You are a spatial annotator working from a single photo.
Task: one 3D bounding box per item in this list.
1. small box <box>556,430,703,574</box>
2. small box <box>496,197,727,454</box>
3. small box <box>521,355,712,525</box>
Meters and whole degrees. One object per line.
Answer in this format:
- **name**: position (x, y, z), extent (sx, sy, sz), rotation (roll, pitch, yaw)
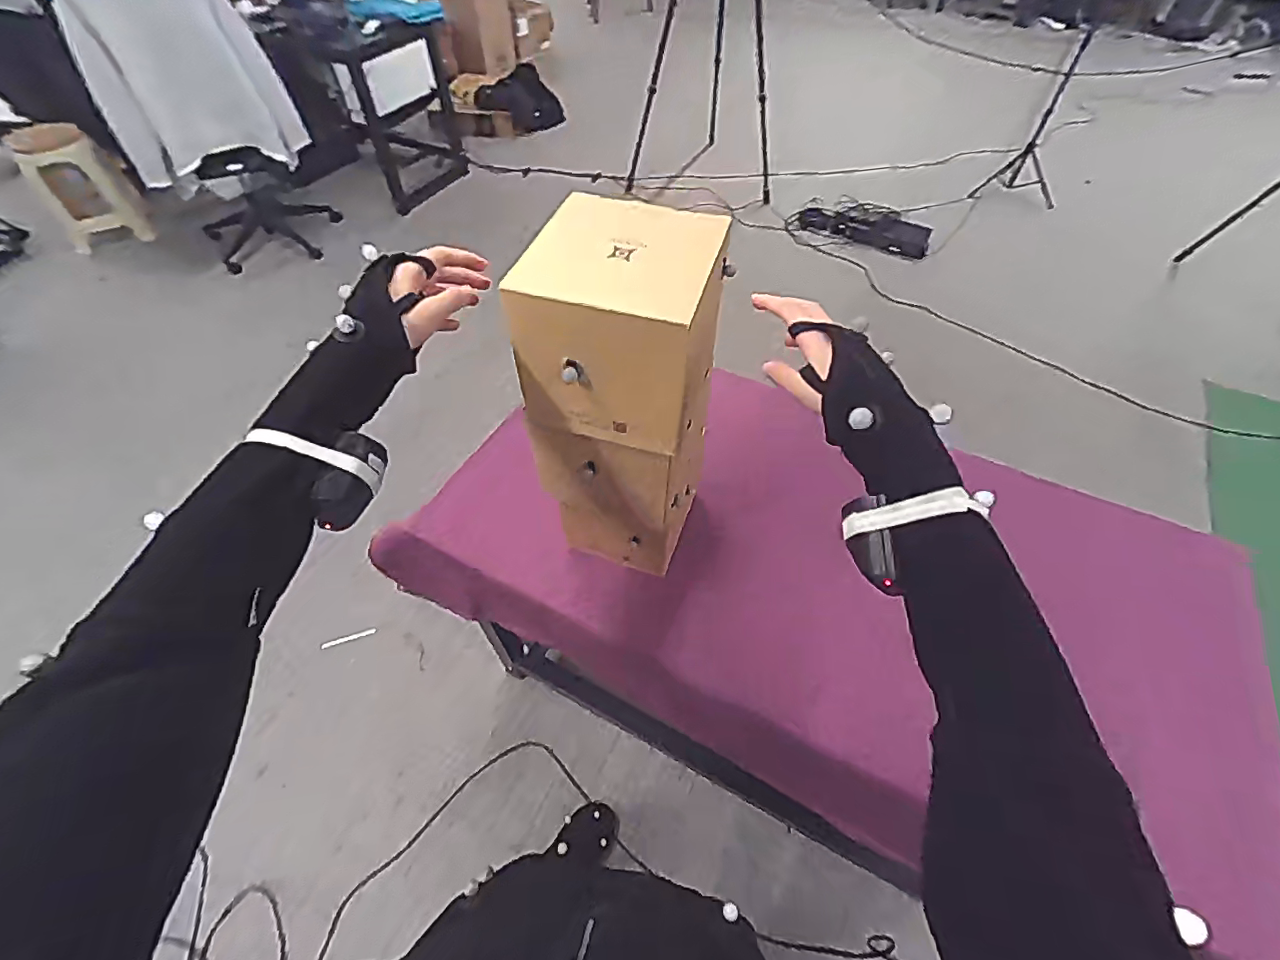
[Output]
- **small box**: position (-0.012, 0.017, 0.827), extent (0.168, 0.176, 0.179), rotation (18, 54, 12)
- **small box**: position (-0.018, -0.152, 0.545), extent (0.168, 0.176, 0.179), rotation (14, 54, 9)
- **small box**: position (-0.024, -0.065, 0.683), extent (0.179, 0.176, 0.168), rotation (17, 54, 12)
